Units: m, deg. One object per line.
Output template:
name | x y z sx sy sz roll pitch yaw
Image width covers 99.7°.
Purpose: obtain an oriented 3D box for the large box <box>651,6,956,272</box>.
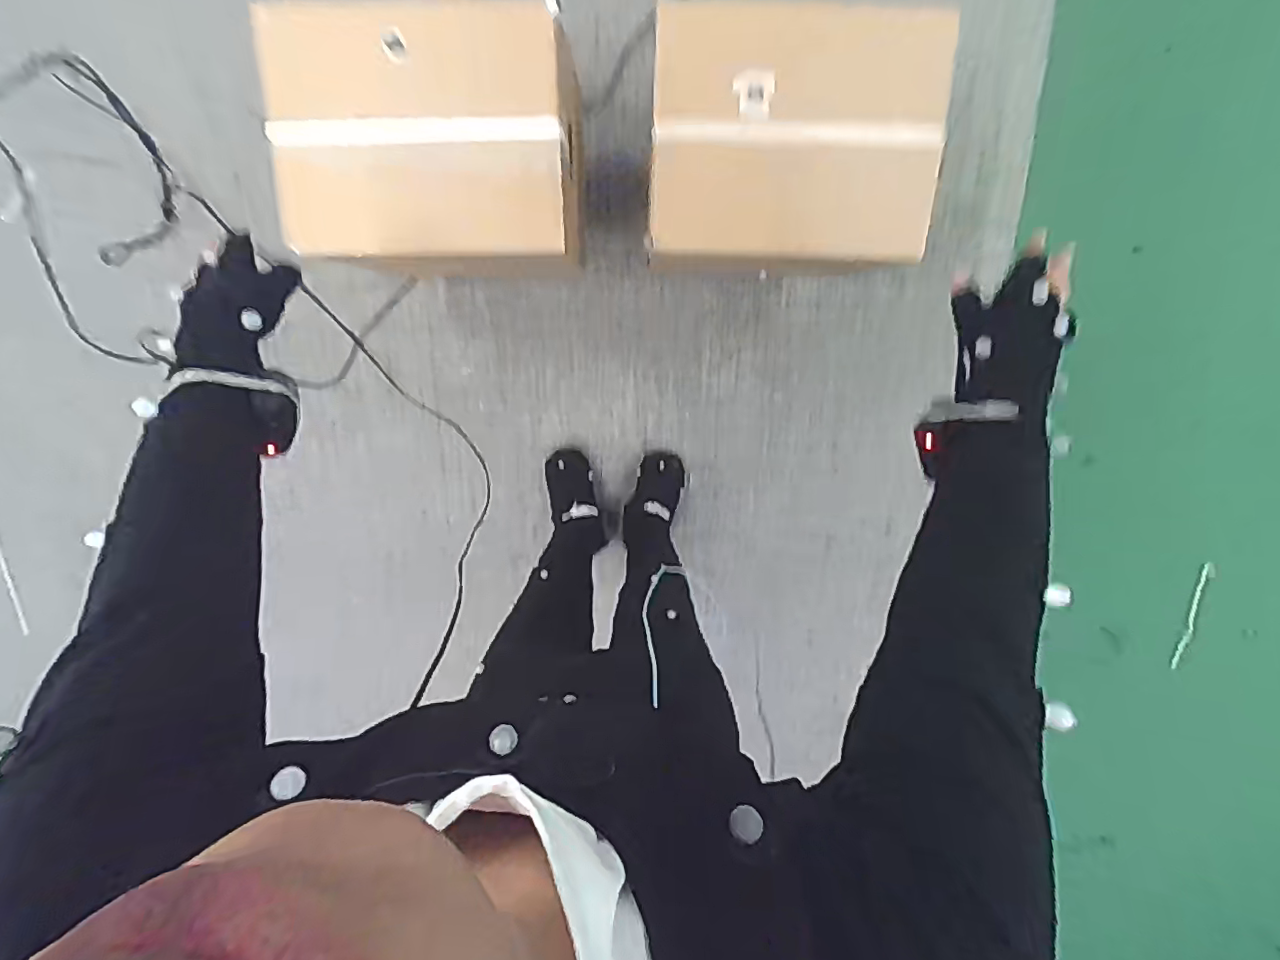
large box | 0.225 -0.526 0.907 0.408 0.320 0.320 2 106 0
